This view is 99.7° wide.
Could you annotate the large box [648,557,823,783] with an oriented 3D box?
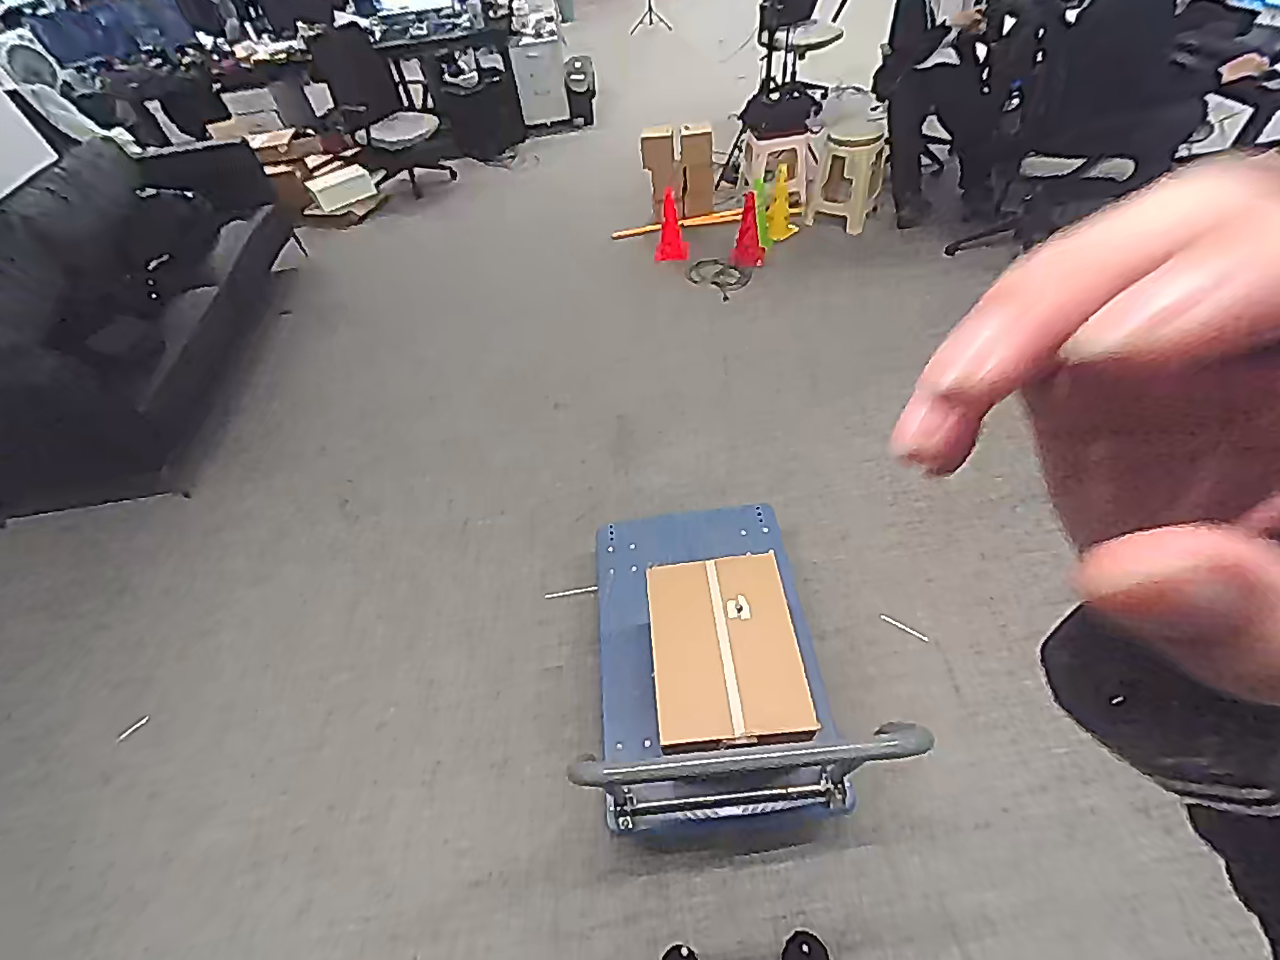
[{"bbox_3d":[0.205,0.448,1.279,0.320,0.320,0.408,-7,49,2],"label":"large box"}]
